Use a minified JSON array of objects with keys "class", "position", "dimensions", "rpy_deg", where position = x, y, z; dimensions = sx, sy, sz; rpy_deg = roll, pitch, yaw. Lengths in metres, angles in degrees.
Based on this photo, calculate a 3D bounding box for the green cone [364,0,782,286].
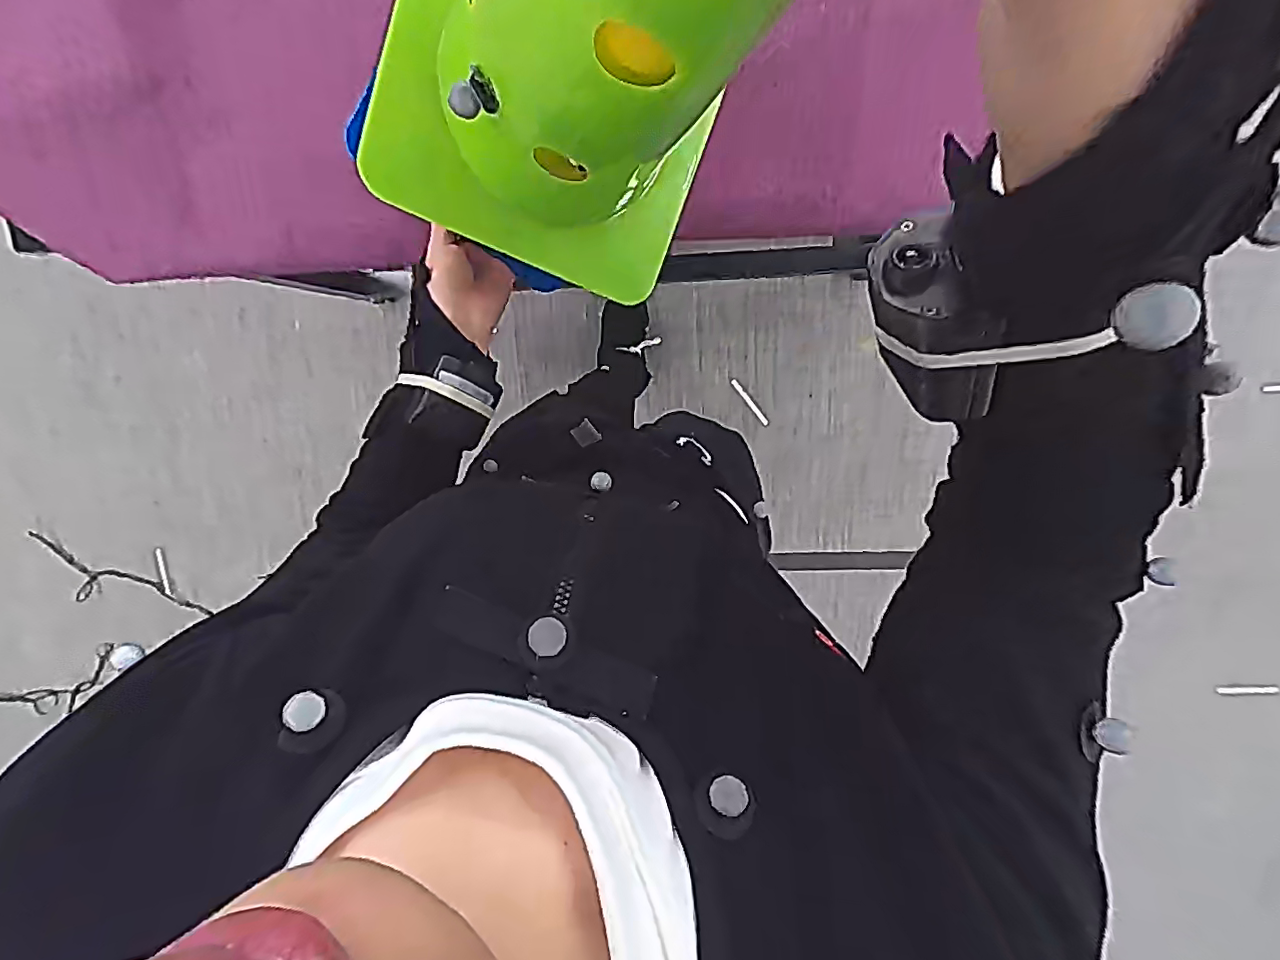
[{"class":"green cone","position":[0.011,-0.194,0.177],"dimensions":[0.200,0.368,0.202],"rpy_deg":[16,102,-23]}]
